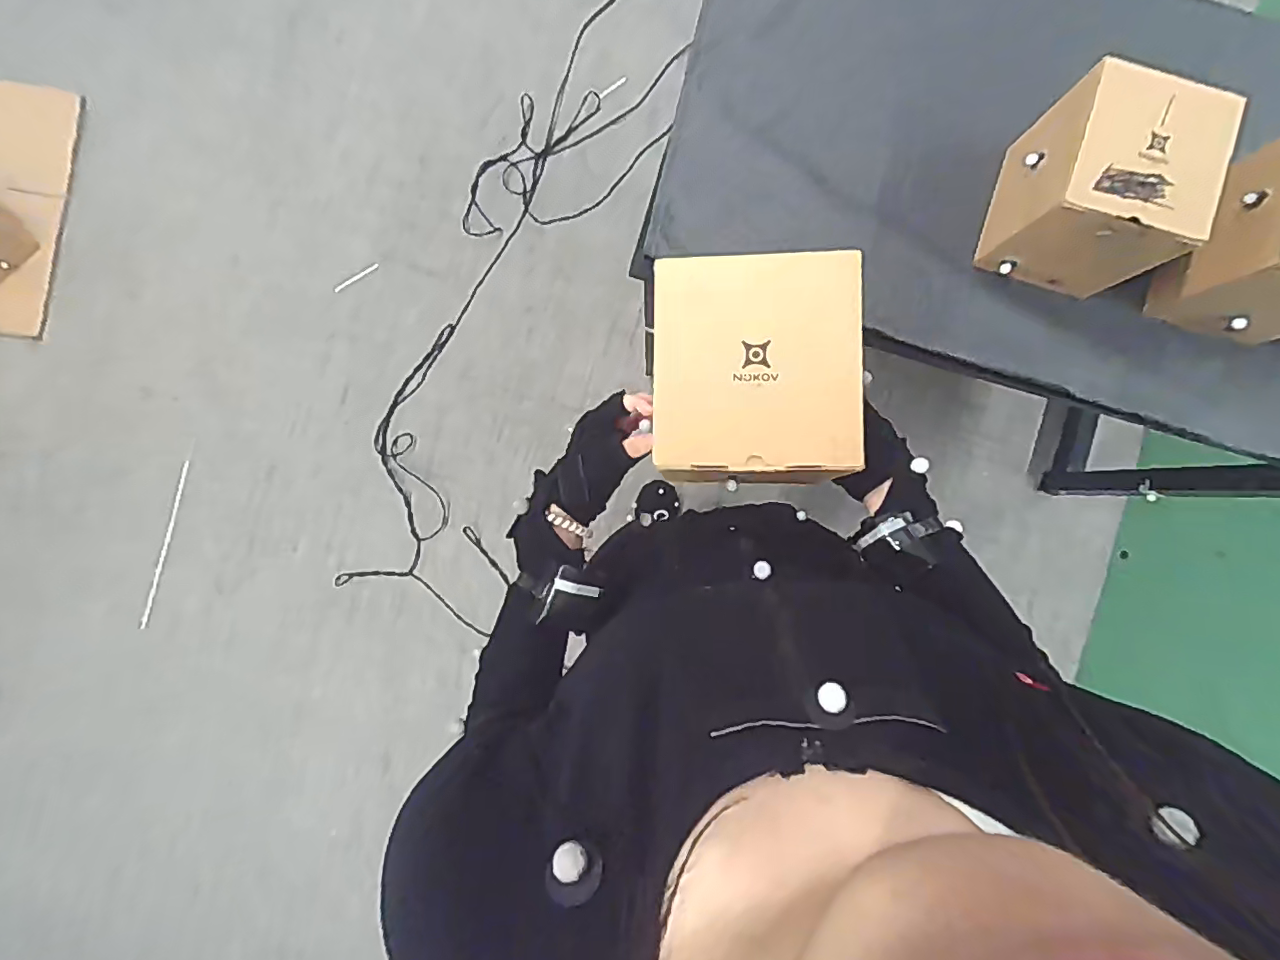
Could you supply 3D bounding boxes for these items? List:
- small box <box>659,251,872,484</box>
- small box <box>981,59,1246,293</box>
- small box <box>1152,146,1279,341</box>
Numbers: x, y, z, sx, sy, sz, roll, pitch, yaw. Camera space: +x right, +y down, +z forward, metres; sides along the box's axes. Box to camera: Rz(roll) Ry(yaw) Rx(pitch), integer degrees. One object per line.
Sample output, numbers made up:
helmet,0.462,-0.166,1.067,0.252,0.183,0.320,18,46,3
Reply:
small box,0.103,-0.089,0.504,0.168,0.176,0.179,-1,87,6
small box,0.570,-0.362,0.678,0.168,0.176,0.179,17,88,1
small box,0.803,-0.296,0.673,0.168,0.176,0.179,15,89,1
